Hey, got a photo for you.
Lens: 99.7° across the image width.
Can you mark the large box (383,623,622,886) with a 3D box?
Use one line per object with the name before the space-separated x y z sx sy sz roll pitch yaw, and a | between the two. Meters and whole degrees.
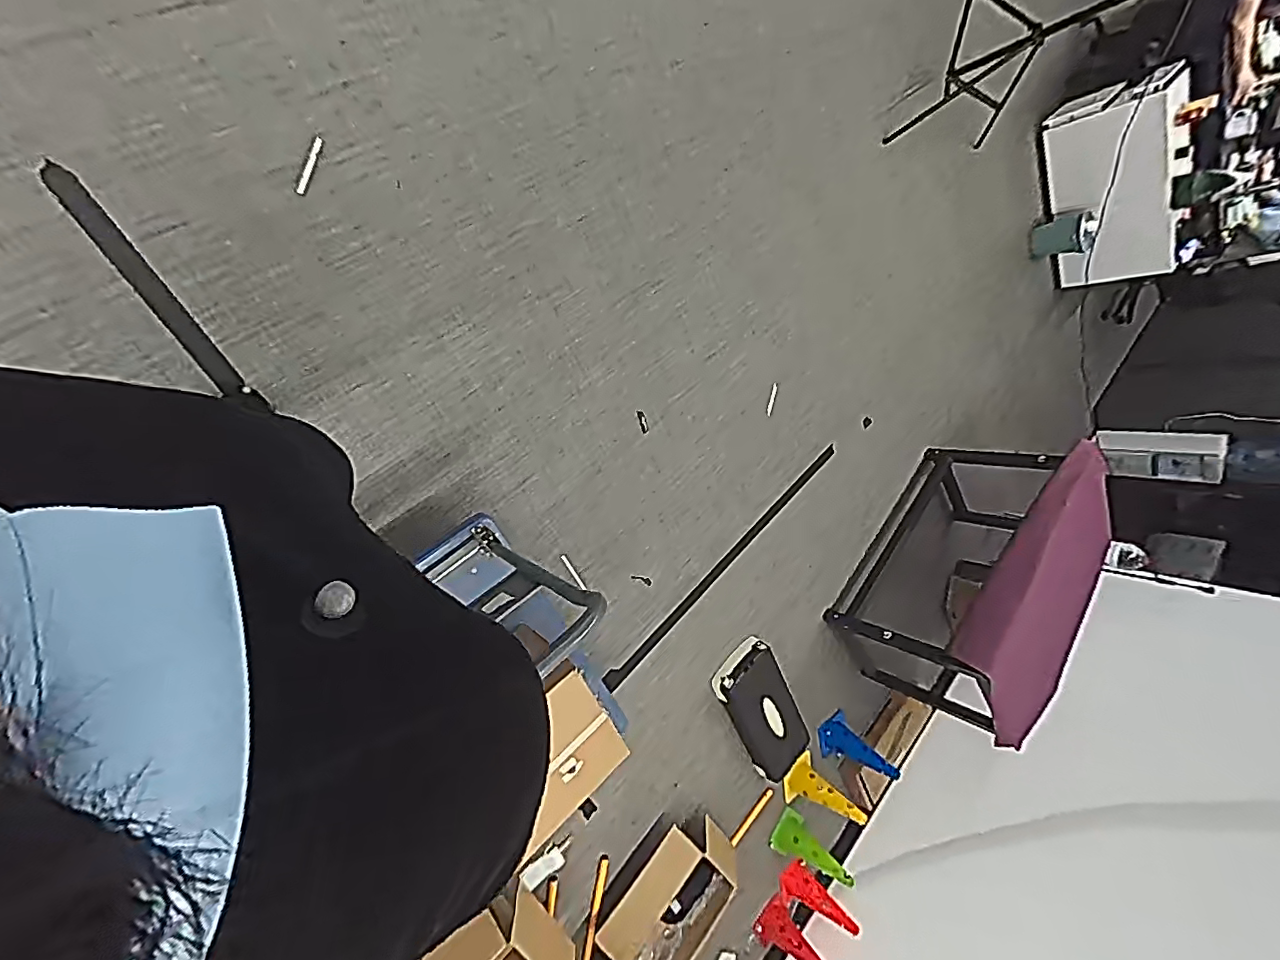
large box | -0.327 0.627 1.305 0.408 0.320 0.320 -38 118 -27
